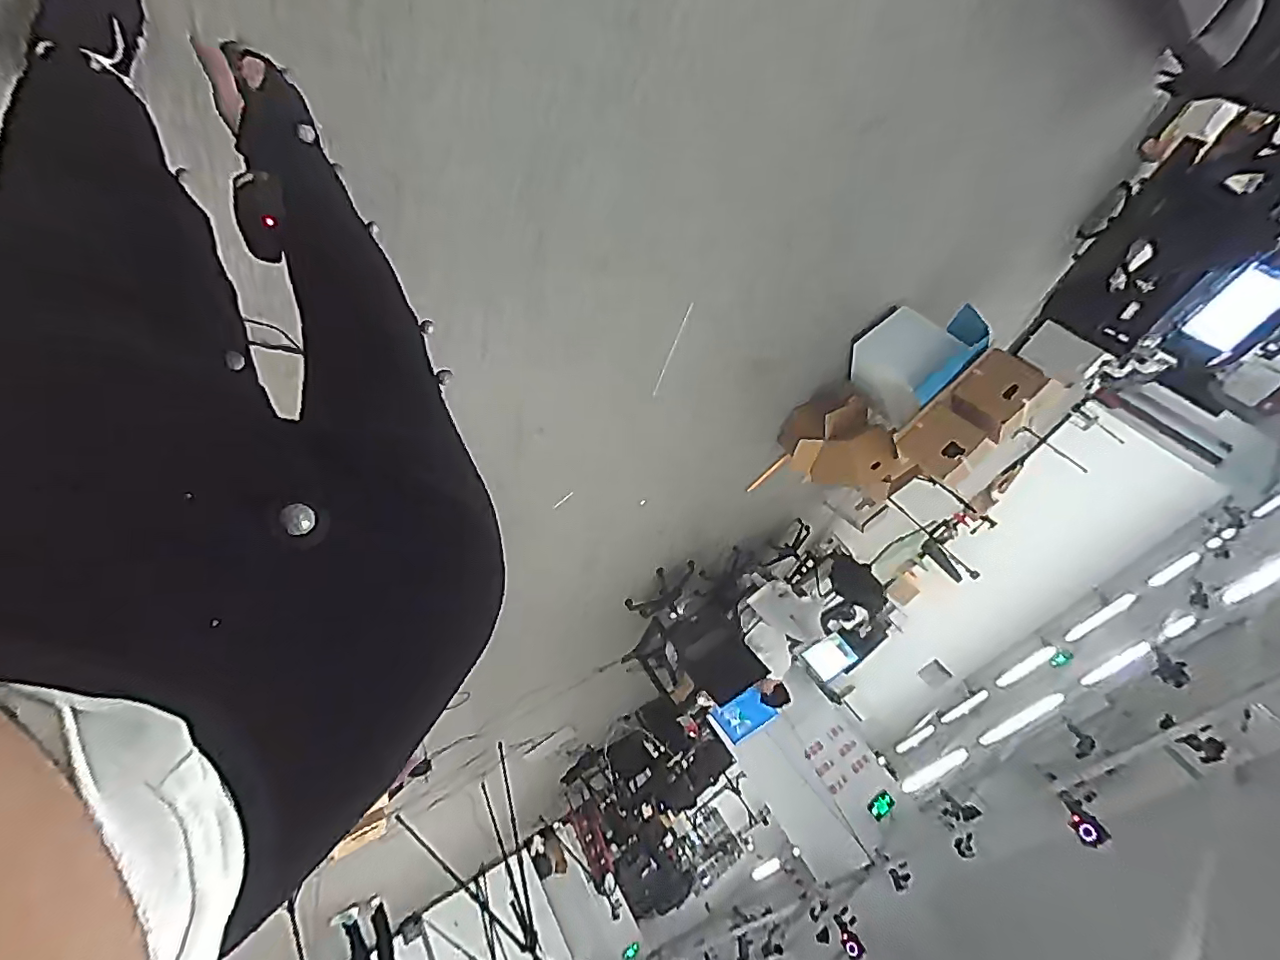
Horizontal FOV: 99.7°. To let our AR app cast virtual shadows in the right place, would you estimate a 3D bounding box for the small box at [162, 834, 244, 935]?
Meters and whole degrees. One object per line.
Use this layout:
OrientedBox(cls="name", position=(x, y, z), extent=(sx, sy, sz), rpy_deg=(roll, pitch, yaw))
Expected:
OrientedBox(cls="small box", position=(-1.316, 1.213, 1.630), extent=(0.168, 0.176, 0.179), rpy_deg=(-12, 141, -38))
